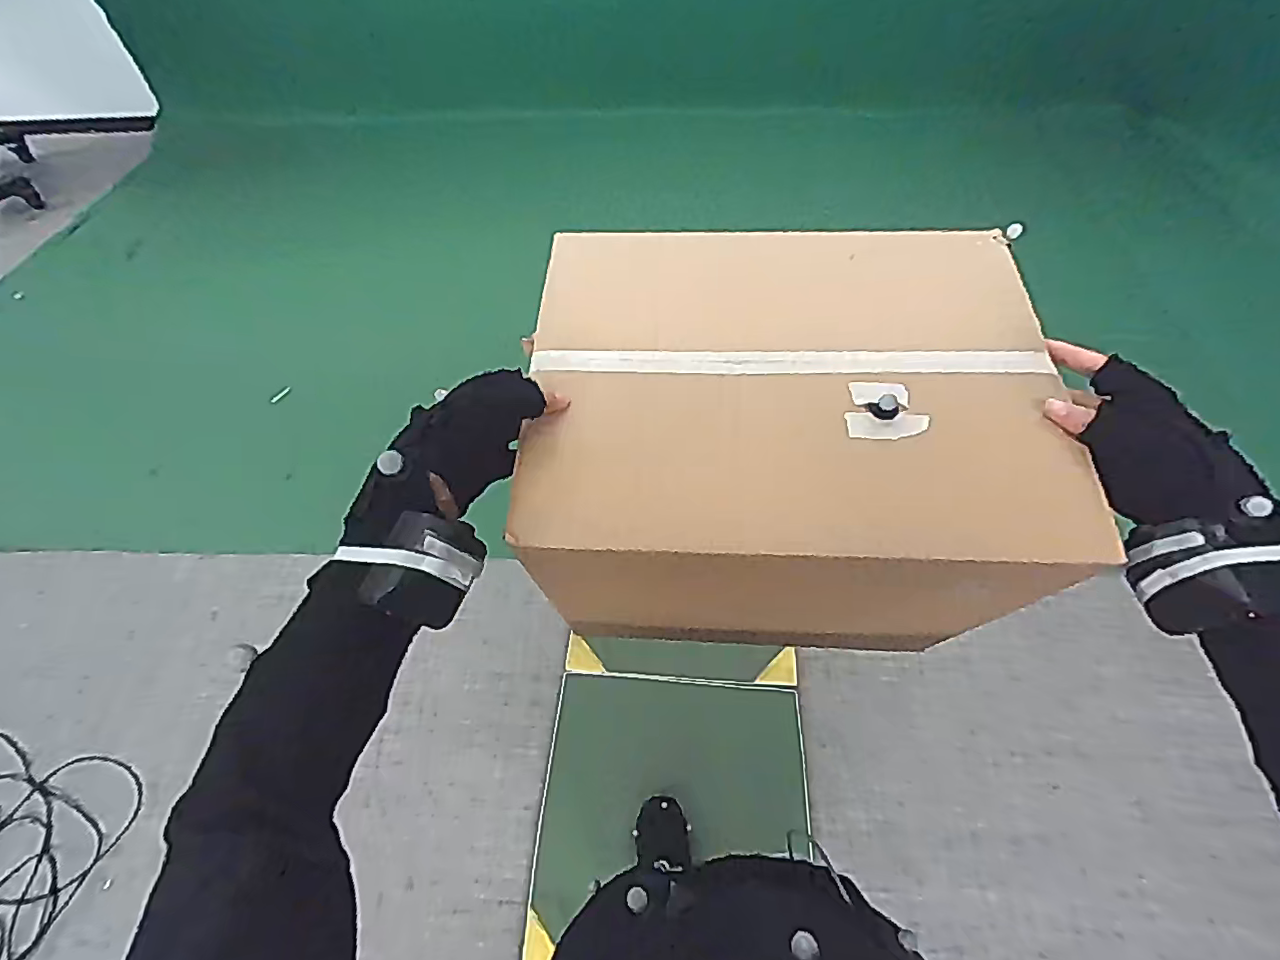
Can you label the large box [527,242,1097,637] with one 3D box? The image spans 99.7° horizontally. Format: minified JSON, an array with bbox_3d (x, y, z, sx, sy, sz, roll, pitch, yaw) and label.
[{"bbox_3d":[0.122,-0.021,0.575,0.408,0.320,0.320,1,63,3],"label":"large box"}]
